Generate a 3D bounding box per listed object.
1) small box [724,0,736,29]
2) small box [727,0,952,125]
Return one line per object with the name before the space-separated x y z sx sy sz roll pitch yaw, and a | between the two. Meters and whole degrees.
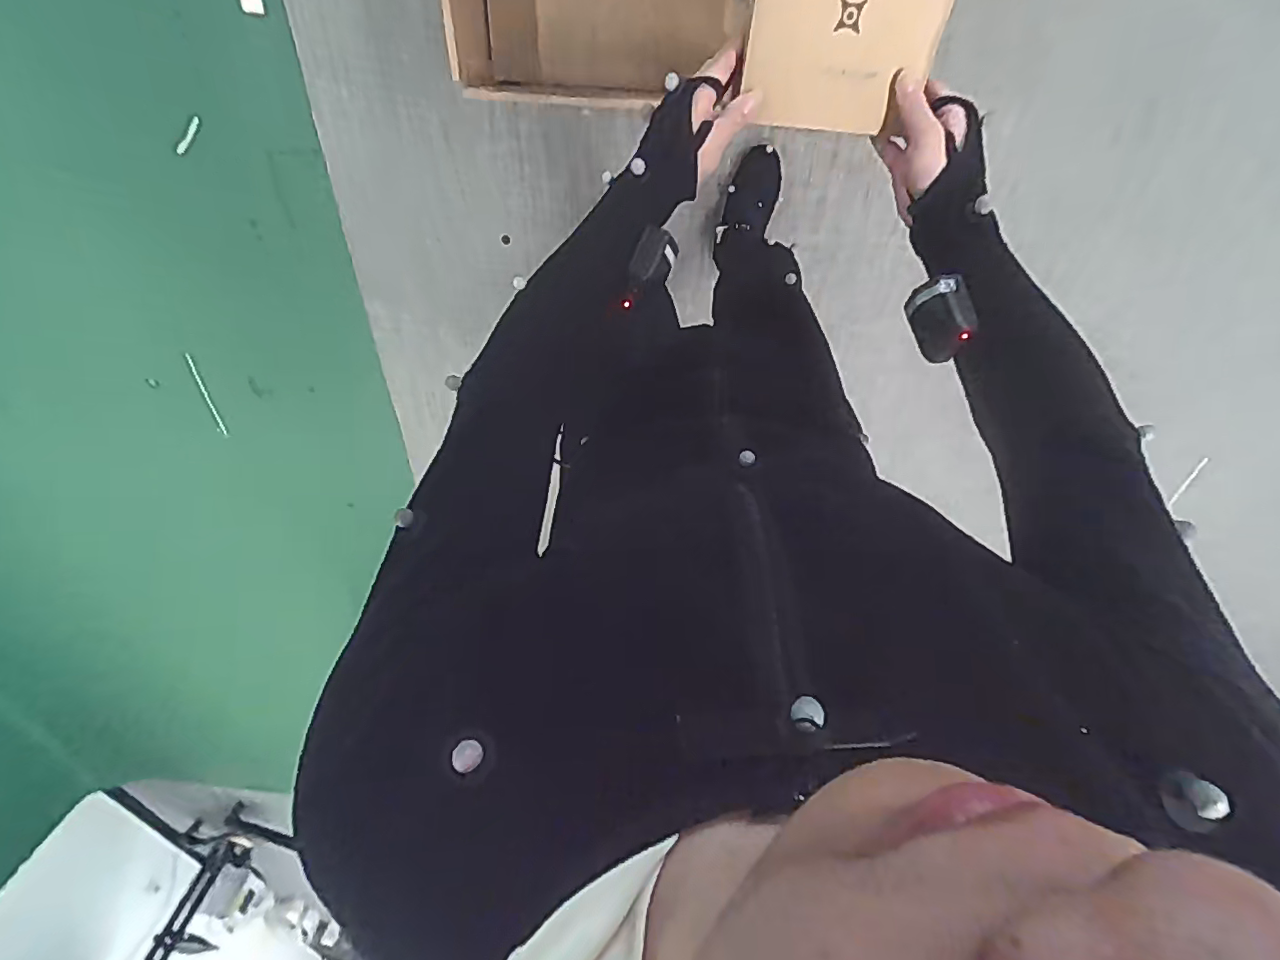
small box | 0.200 -0.679 0.685 0.168 0.176 0.179 5 126 3
small box | 0.181 -0.458 0.509 0.168 0.176 0.179 5 132 -1
